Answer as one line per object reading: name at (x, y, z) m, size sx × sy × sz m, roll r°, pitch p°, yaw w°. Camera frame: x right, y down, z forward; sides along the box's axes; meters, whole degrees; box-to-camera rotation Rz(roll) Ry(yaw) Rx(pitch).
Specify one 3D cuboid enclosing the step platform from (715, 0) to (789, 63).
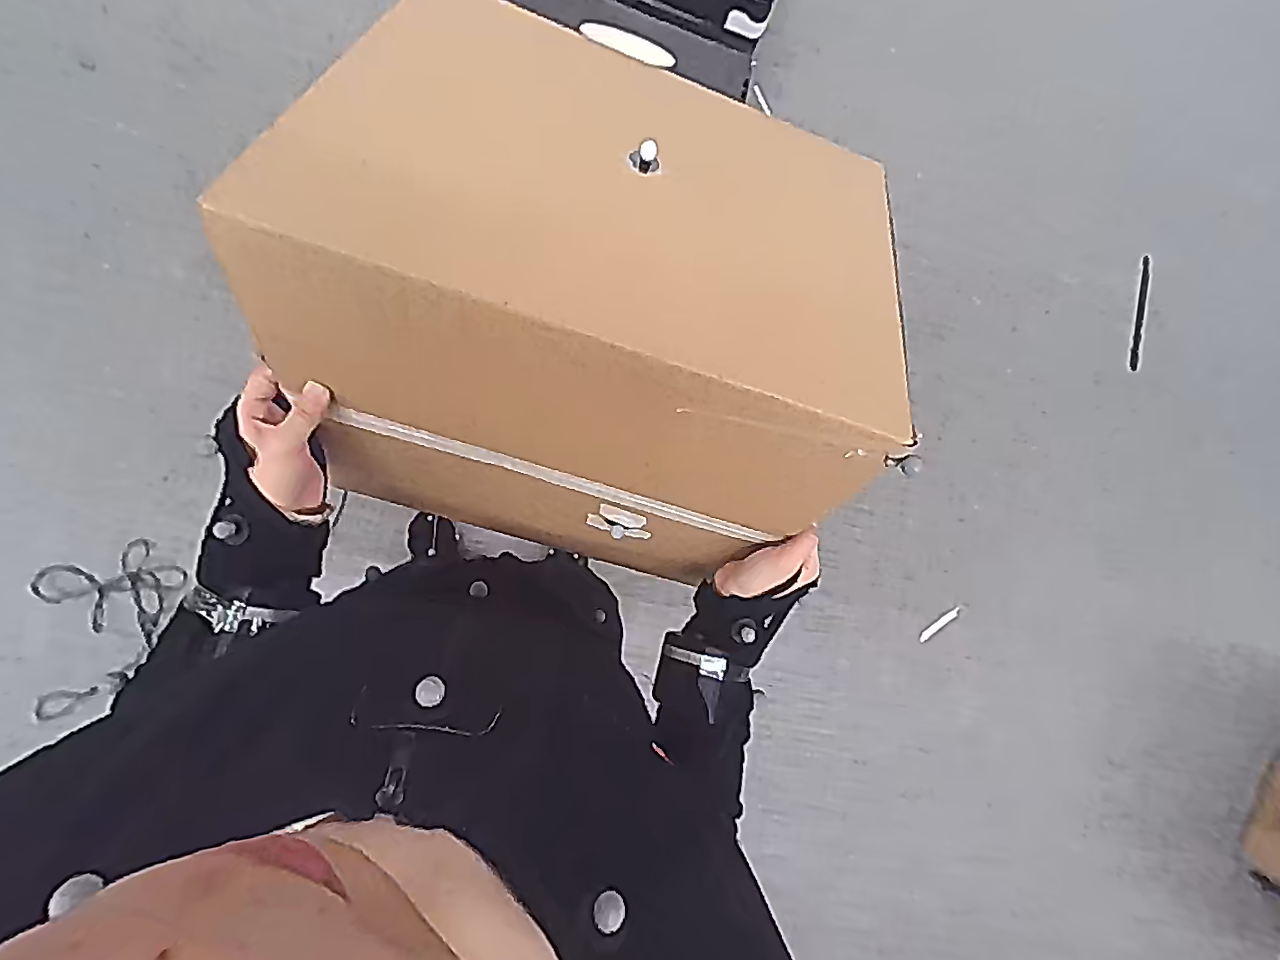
step platform at (0.081, -1.392, 1.374) m, size 0.684 × 0.204 × 0.286 m, roll 20°, pitch 85°, yaw -11°

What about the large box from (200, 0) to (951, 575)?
large box at (-0.031, -0.150, 0.475) m, size 0.408 × 0.320 × 0.320 m, roll 16°, pitch 60°, yaw -9°
